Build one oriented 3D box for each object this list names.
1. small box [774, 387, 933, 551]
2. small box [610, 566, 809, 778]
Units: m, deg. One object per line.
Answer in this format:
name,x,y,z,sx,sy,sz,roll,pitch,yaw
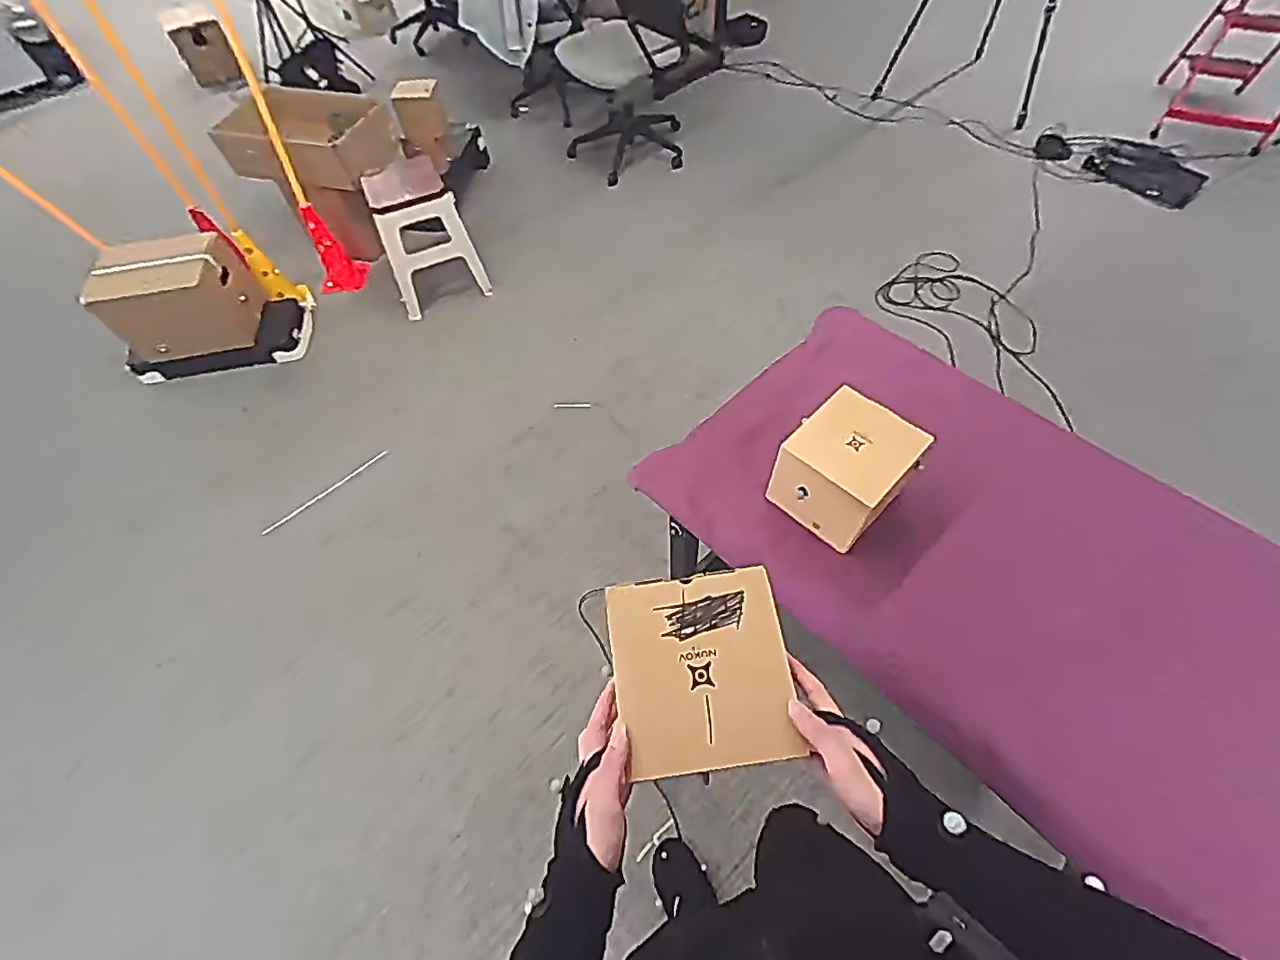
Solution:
small box,0.340,-0.013,0.899,0.168,0.176,0.179,39,67,24
small box,0.059,0.206,0.576,0.168,0.176,0.179,-7,65,-1
